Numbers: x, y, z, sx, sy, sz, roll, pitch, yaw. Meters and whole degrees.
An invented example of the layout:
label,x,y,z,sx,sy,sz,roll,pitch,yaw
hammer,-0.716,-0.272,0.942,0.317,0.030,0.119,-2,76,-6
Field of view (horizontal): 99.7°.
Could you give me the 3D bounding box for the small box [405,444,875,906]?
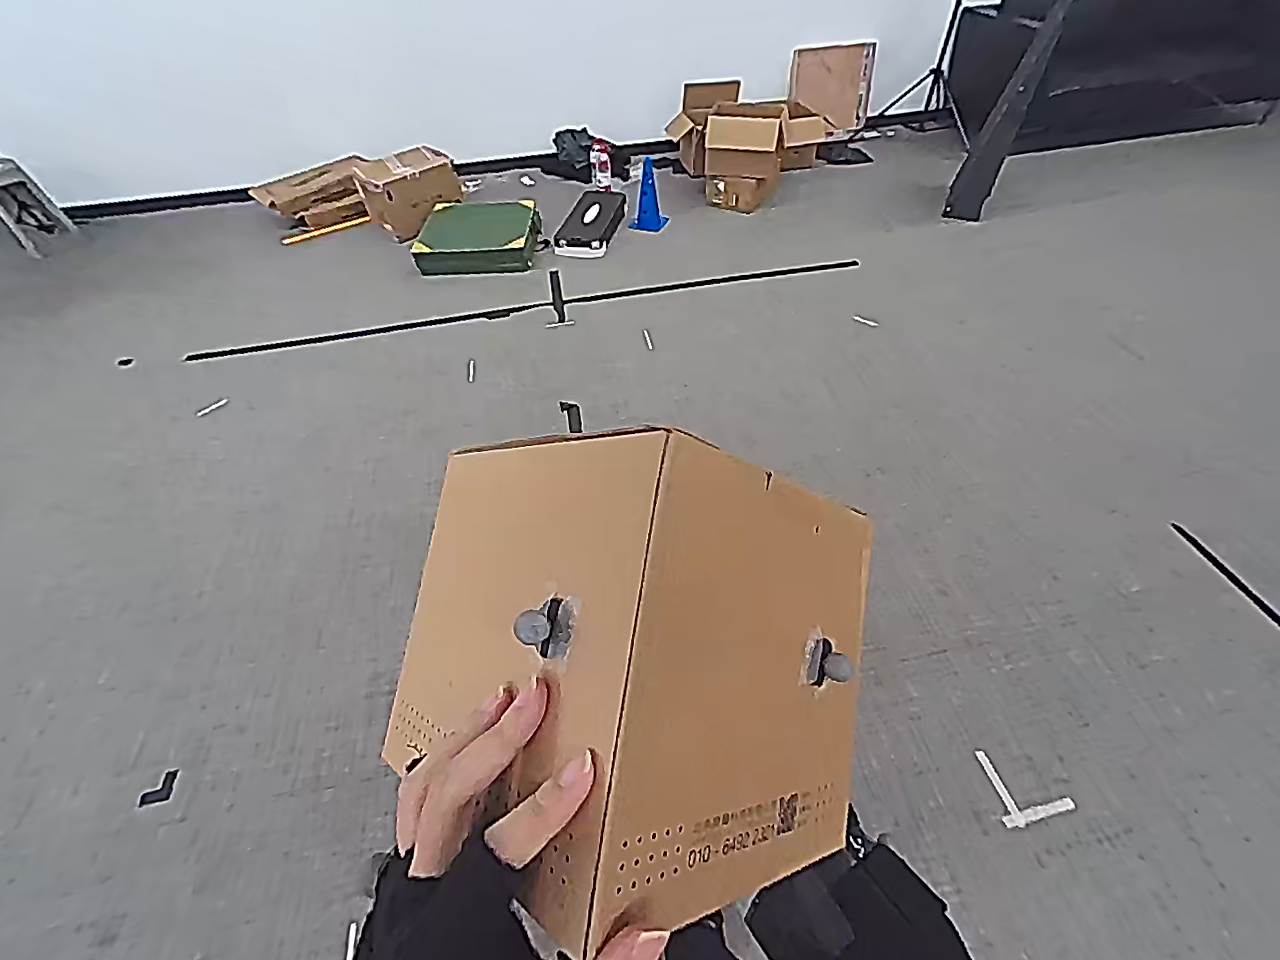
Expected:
label,x,y,z,sx,sy,sz,roll,pitch,yaw
small box,-0.001,0.087,0.289,0.179,0.168,0.176,-2,75,48
